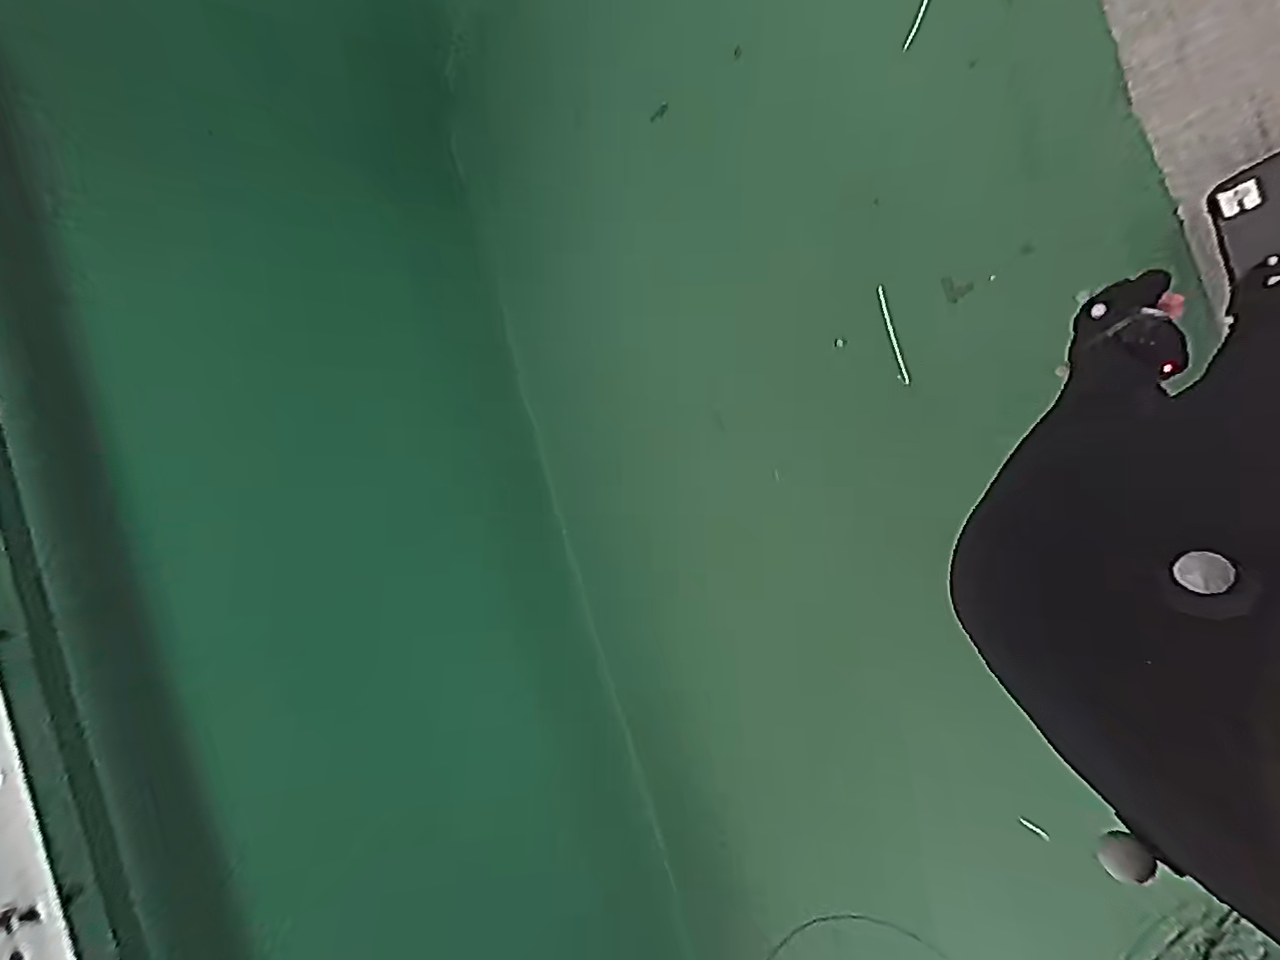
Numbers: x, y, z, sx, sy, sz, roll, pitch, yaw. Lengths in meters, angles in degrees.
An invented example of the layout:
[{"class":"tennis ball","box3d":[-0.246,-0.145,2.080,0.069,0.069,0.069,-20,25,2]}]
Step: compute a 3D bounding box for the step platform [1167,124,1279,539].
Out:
[{"class":"step platform","box3d":[1.122,-0.231,0.849,0.286,0.204,0.684,-19,88,52]}]
